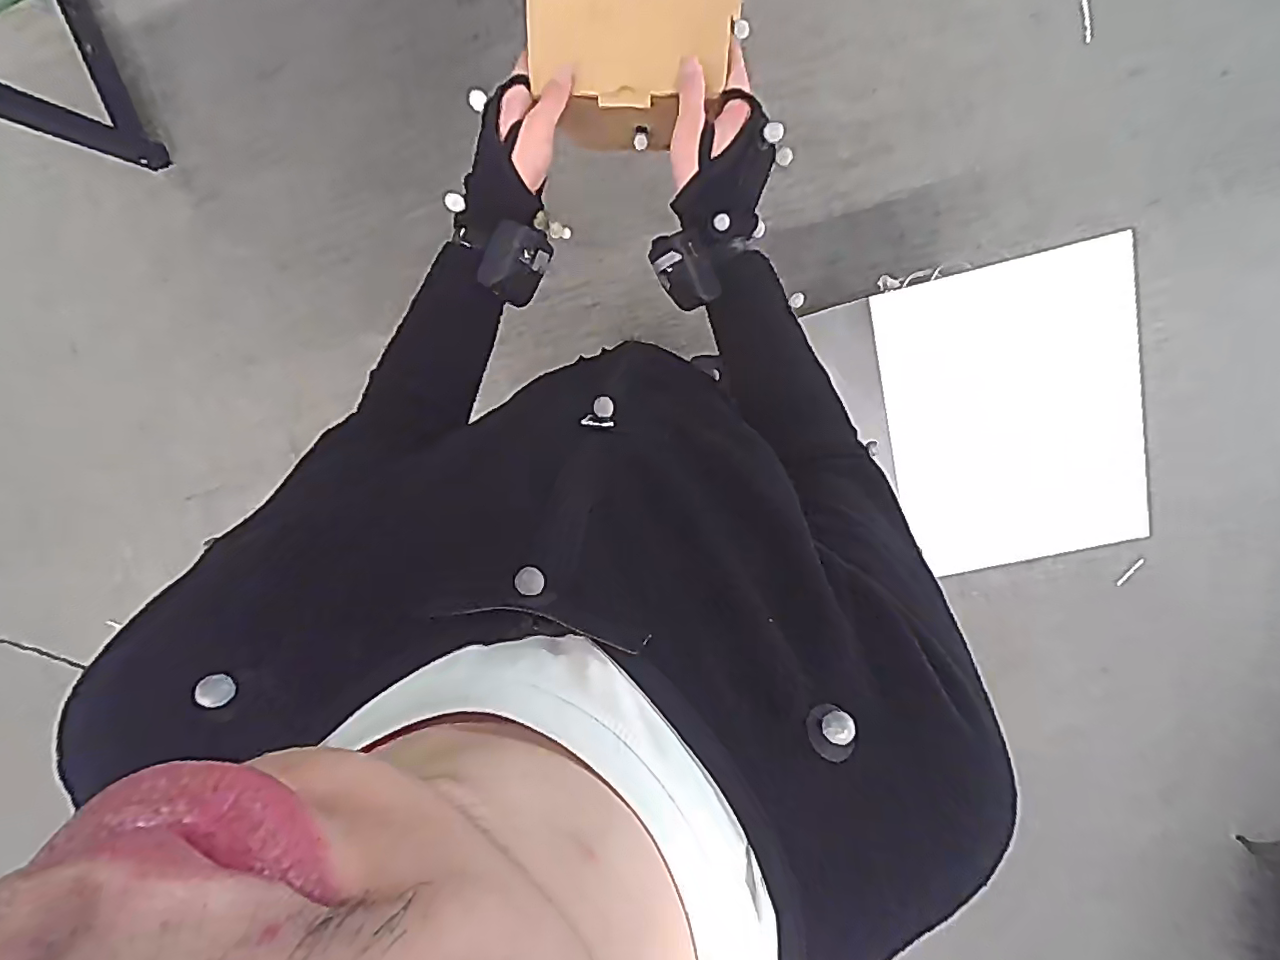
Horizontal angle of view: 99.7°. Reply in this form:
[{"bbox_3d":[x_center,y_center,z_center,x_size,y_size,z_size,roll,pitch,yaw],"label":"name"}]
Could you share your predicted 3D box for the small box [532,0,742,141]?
[{"bbox_3d":[0.007,-0.426,0.494,0.168,0.176,0.179,4,109,9],"label":"small box"}]
